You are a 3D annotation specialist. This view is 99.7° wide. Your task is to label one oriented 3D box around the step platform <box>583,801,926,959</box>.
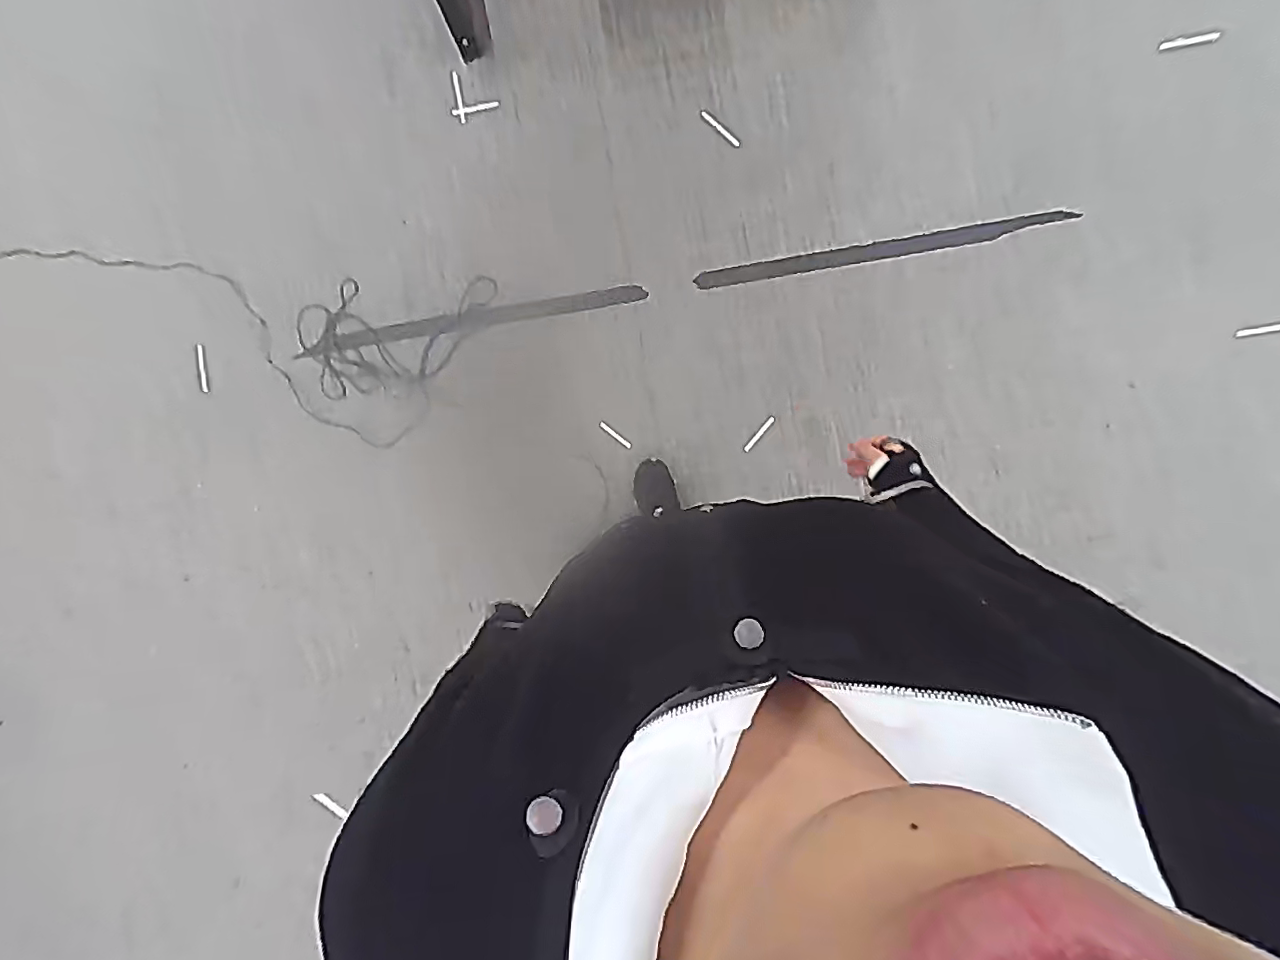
[{"bbox_3d":[0.232,0.934,1.178,0.684,0.204,0.286,-12,89,3],"label":"step platform"}]
